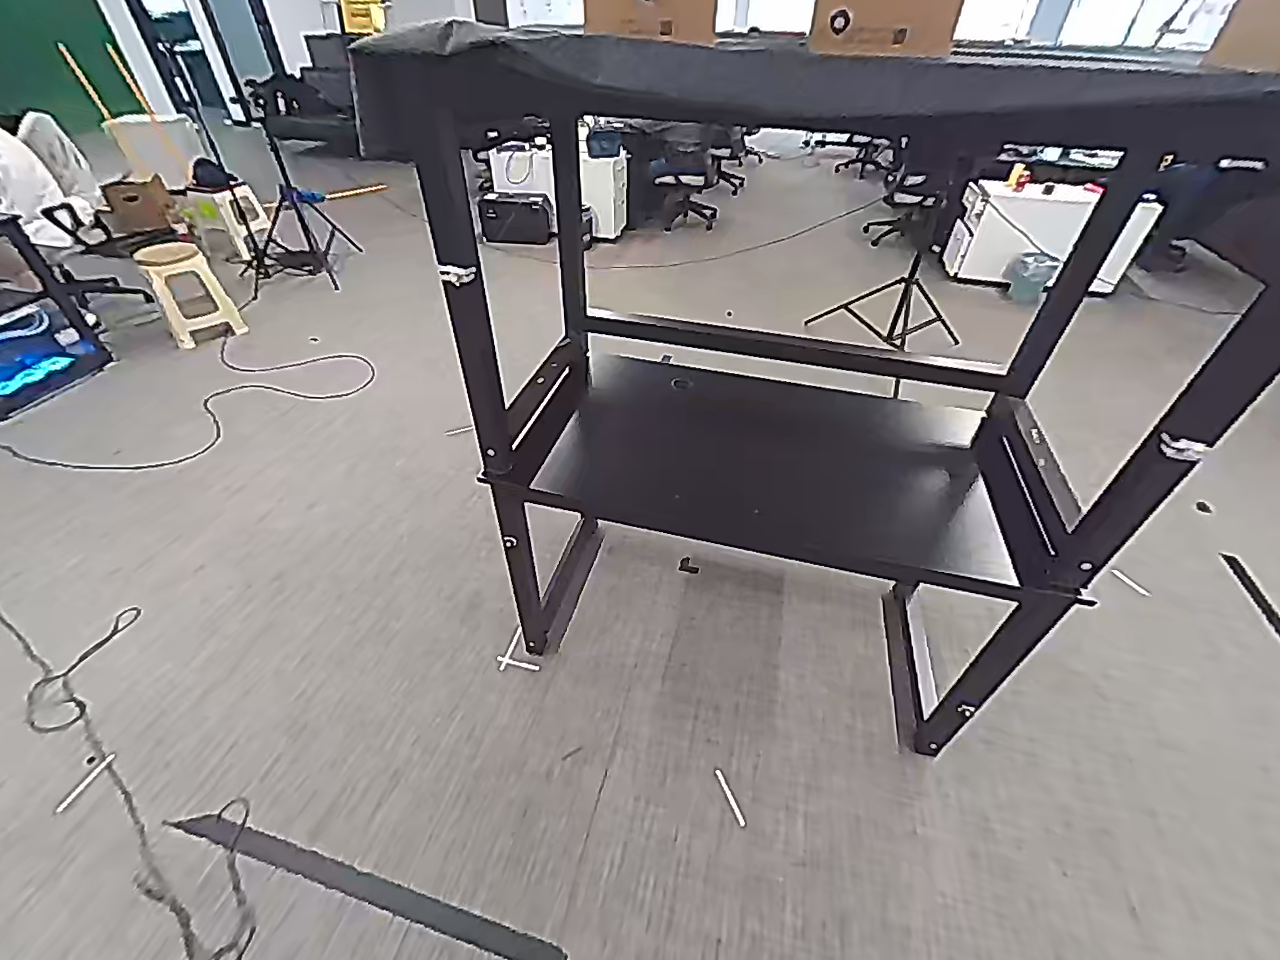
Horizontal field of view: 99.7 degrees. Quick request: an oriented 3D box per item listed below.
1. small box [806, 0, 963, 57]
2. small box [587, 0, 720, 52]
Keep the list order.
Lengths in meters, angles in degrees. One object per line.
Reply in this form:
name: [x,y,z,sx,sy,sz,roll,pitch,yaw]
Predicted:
small box: [0.305,-0.626,0.659,0.168,0.176,0.179,10,40,10]
small box: [0.024,-0.663,0.692,0.168,0.176,0.179,5,40,4]
